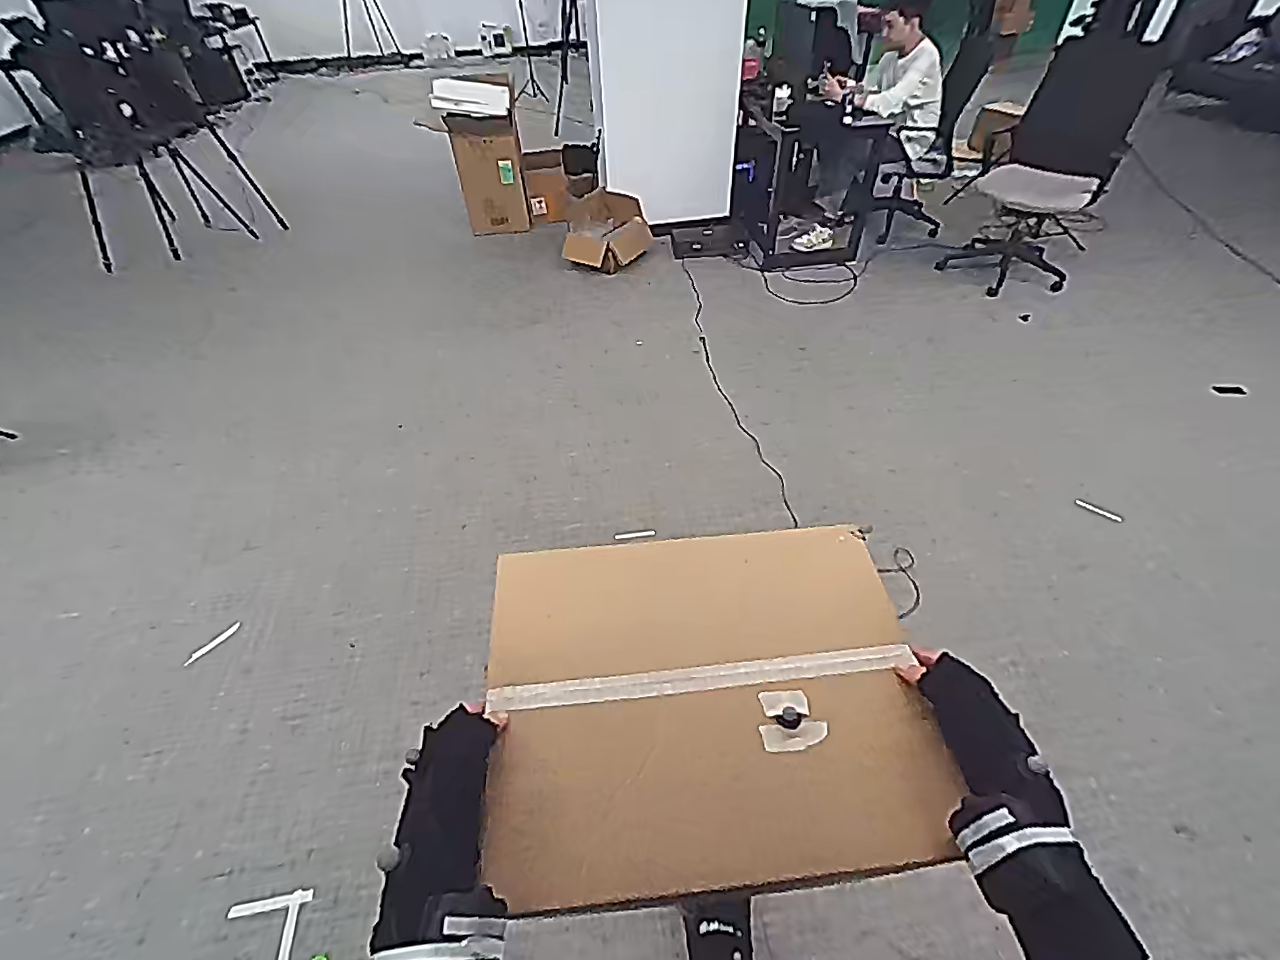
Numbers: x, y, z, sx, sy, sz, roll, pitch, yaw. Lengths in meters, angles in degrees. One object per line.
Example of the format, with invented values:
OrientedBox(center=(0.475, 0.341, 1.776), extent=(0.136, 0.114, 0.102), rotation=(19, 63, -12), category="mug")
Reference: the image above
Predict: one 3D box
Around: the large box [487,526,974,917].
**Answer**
OrientedBox(center=(0.060, 0.283, 0.632), extent=(0.408, 0.320, 0.320), rotation=(-5, 51, -4), category="large box")

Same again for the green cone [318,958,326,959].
OrientedBox(center=(-0.665, 0.959, 0.900), extent=(0.200, 0.368, 0.202), rotation=(33, 57, 31), category="green cone")
